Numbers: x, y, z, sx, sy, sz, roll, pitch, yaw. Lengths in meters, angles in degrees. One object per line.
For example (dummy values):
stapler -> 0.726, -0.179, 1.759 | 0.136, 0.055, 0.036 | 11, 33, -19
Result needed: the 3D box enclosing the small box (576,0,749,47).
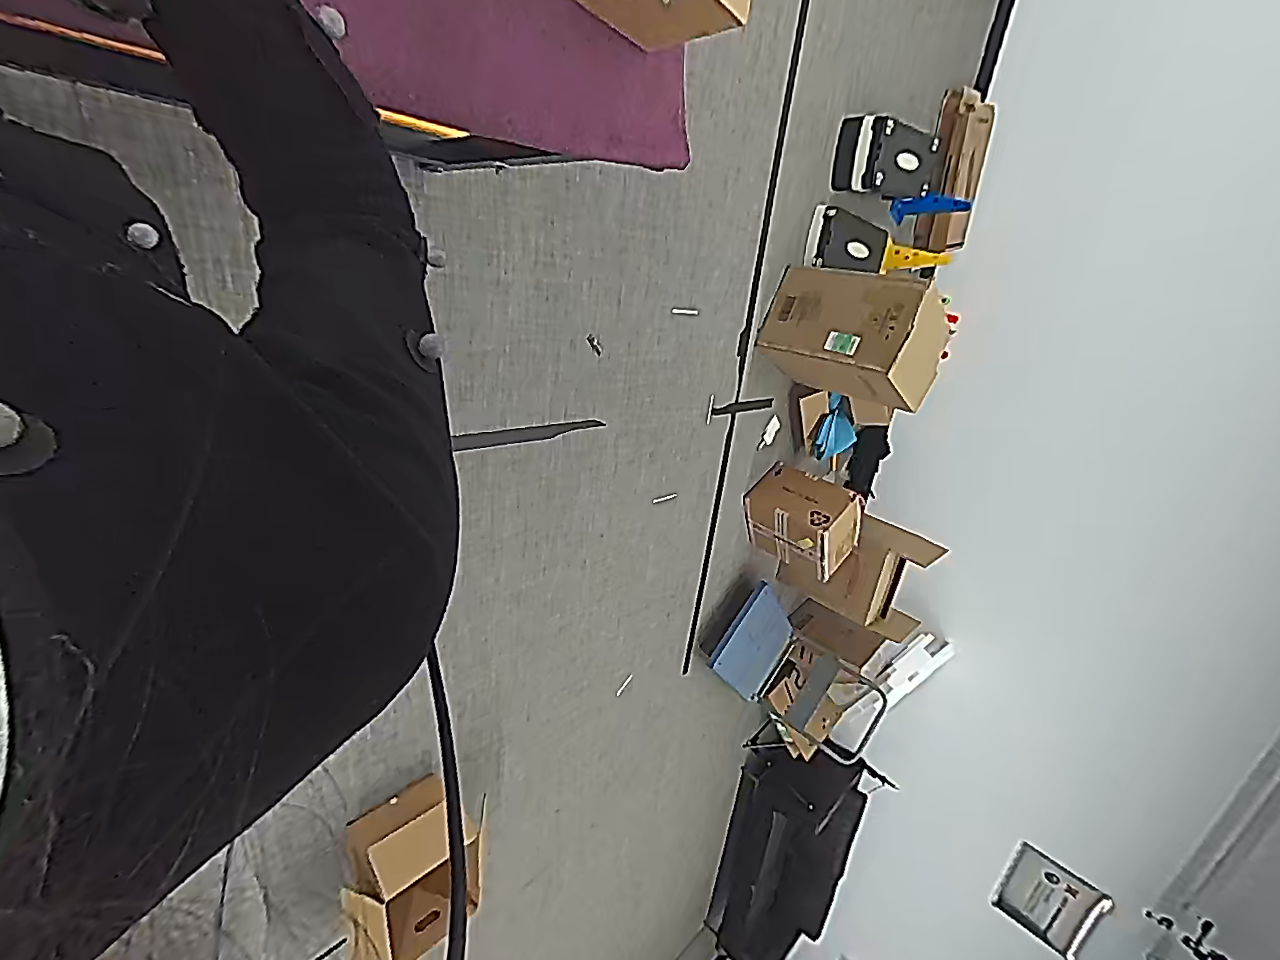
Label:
small box -> 0.021, -0.634, 0.614 | 0.179, 0.176, 0.168 | -8, 114, -47
